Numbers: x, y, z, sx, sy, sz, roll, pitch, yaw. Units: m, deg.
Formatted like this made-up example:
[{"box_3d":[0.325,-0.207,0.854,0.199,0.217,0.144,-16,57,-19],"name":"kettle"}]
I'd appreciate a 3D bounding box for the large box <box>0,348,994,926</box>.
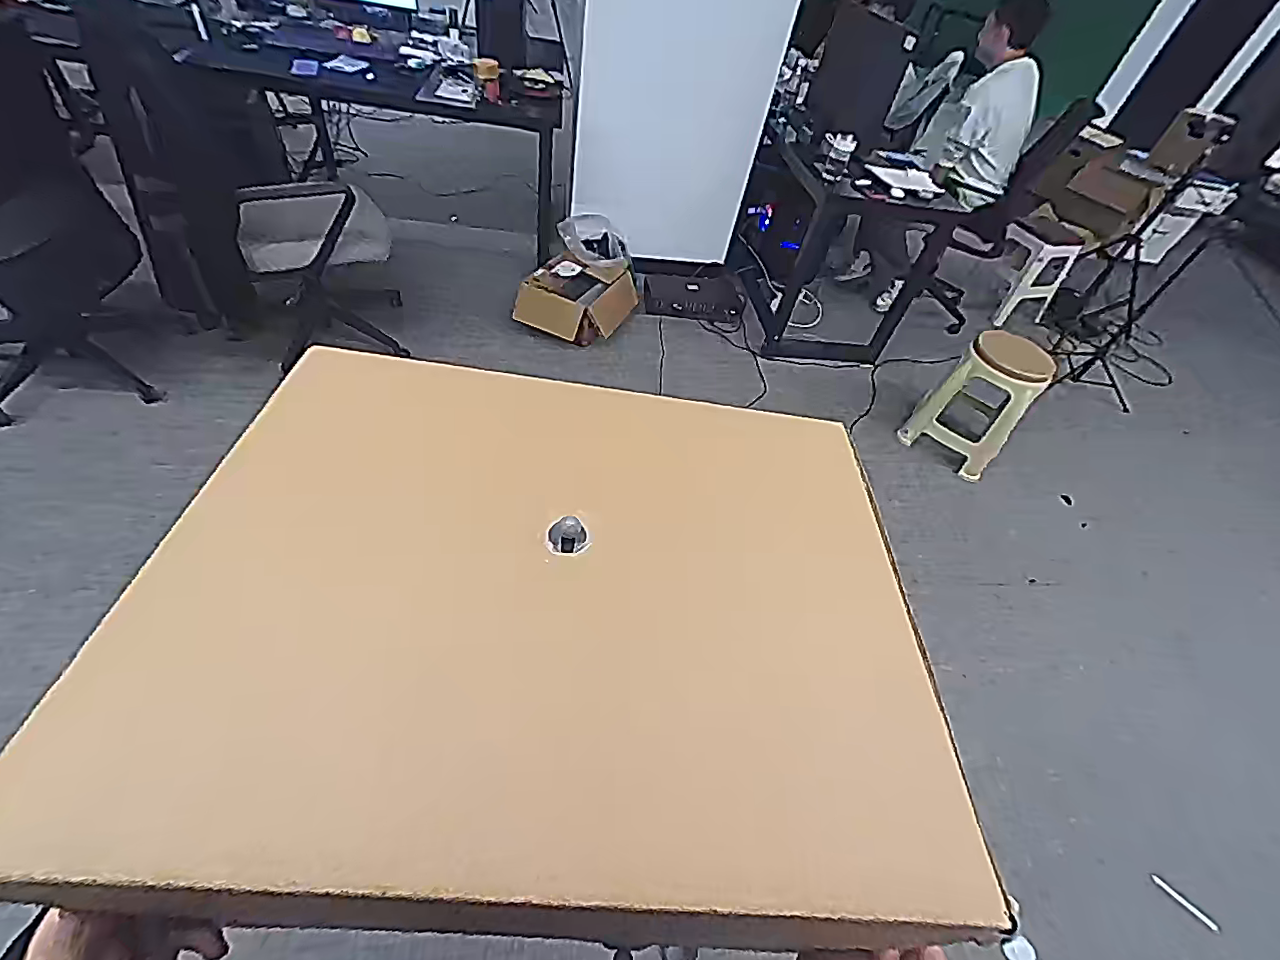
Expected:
[{"box_3d":[-0.067,0.130,0.414,0.408,0.320,0.320,6,49,-5],"name":"large box"}]
